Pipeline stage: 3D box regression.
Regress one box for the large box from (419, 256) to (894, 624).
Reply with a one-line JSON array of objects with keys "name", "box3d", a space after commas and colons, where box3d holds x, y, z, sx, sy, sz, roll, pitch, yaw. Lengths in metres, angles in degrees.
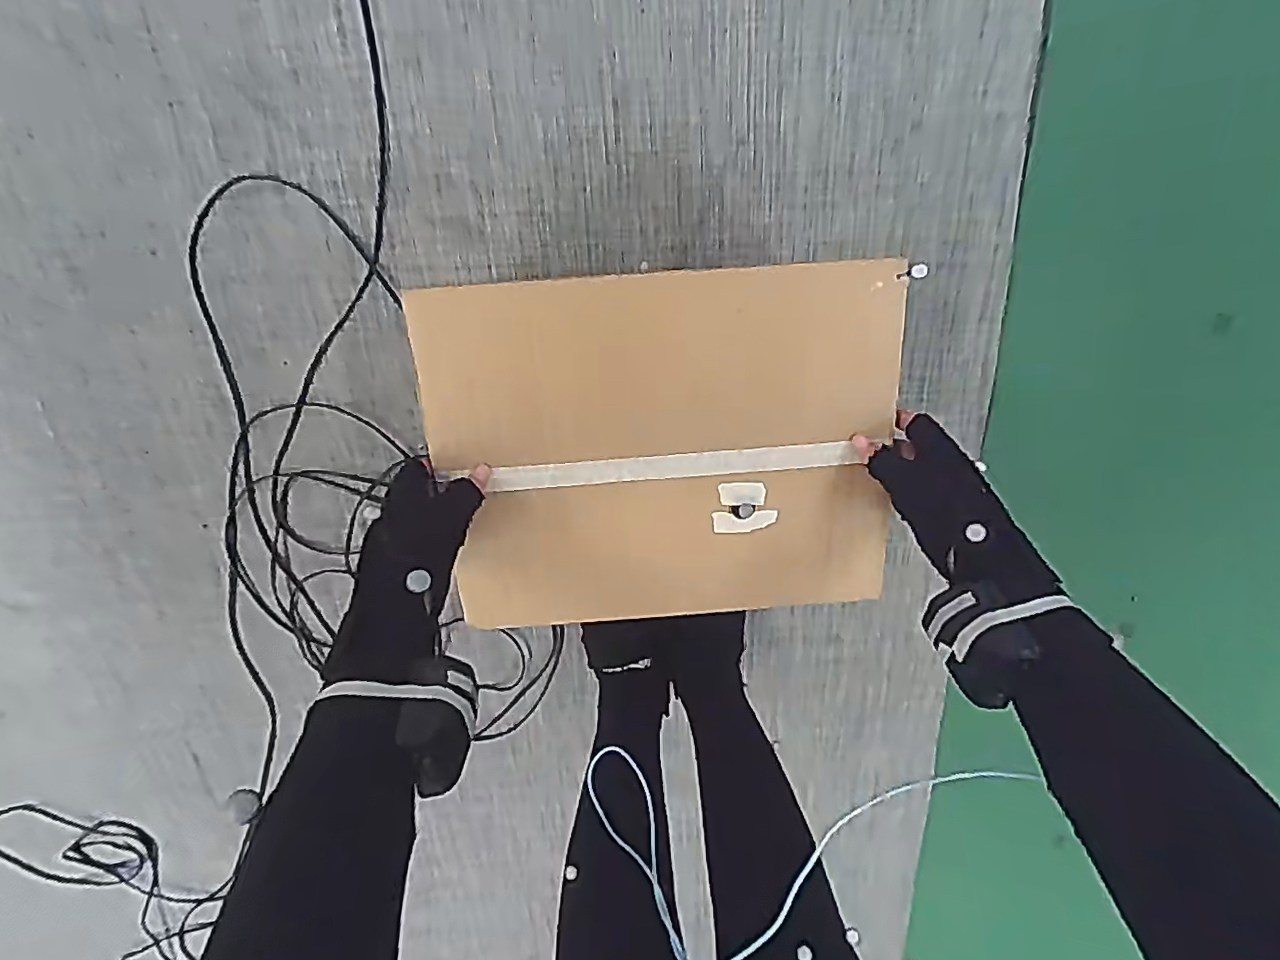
[{"name": "large box", "box3d": [0.019, -0.065, 0.630, 0.408, 0.320, 0.320, -5, 108, -1]}]
